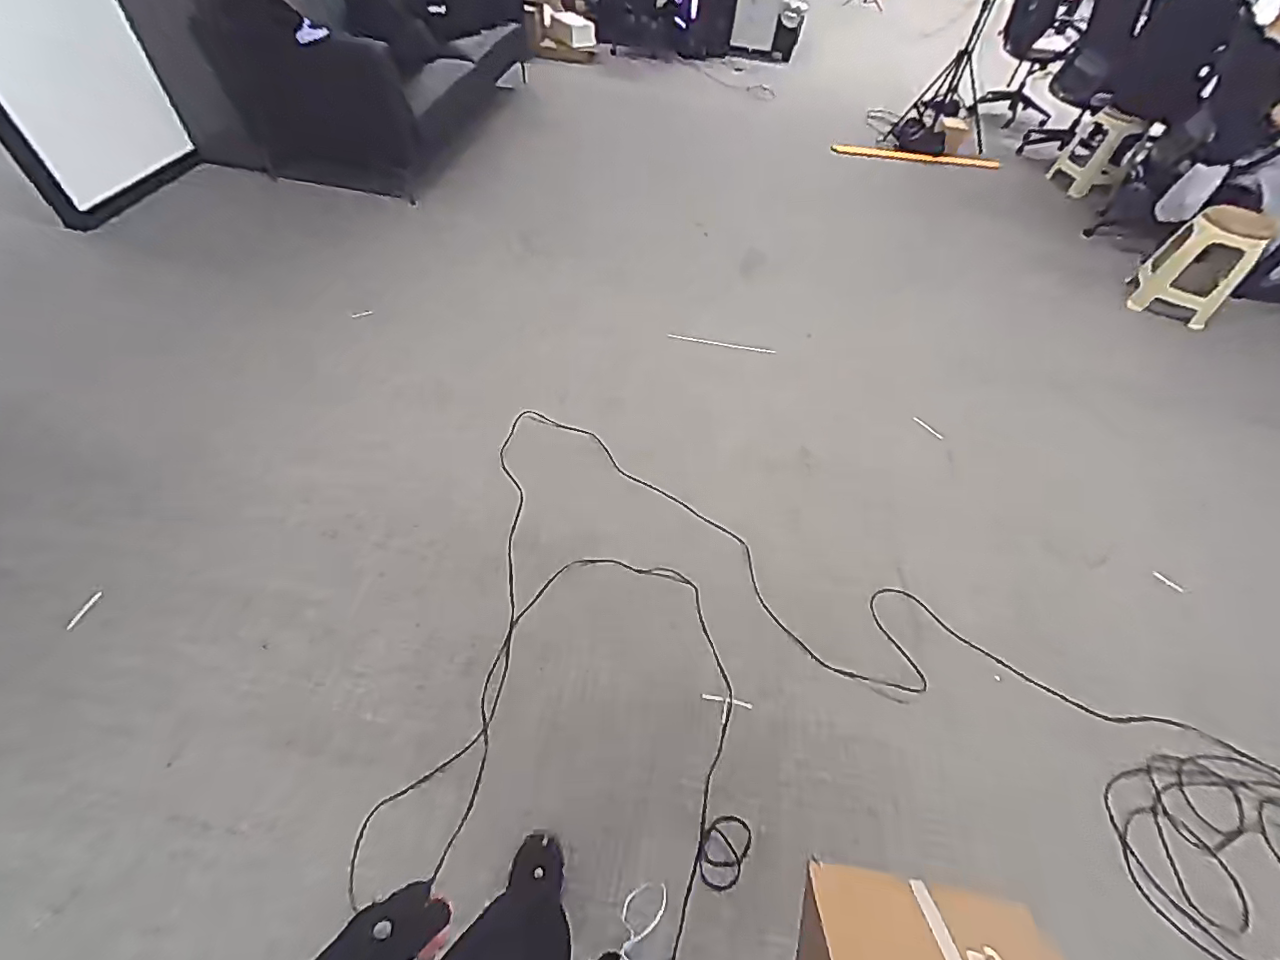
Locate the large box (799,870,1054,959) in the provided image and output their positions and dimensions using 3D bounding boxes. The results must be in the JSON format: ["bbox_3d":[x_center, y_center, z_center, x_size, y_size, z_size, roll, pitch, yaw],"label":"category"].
[{"bbox_3d":[0.373,0.777,0.634,0.320,0.408,0.320,7,94,7],"label":"large box"}]
